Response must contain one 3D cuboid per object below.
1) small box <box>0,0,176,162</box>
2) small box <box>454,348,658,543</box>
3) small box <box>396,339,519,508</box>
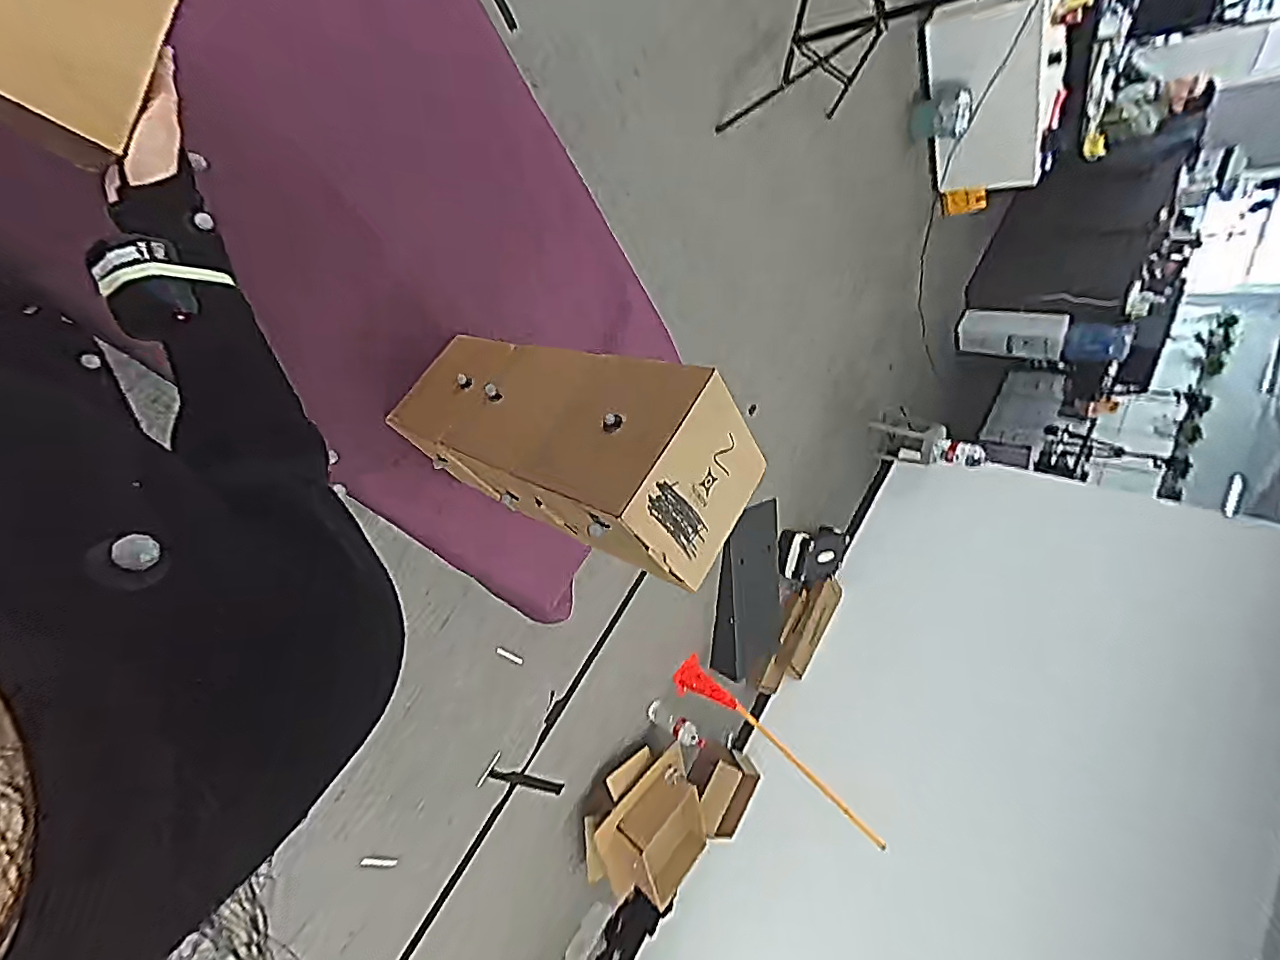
[{"bbox_3d":[-0.448,-0.351,0.371,0.168,0.176,0.179,19,91,-53],"label":"small box"},{"bbox_3d":[-0.114,-0.051,0.708,0.179,0.176,0.168,-55,137,-17],"label":"small box"},{"bbox_3d":[-0.234,-0.090,0.813,0.179,0.176,0.168,-56,137,-16],"label":"small box"}]
